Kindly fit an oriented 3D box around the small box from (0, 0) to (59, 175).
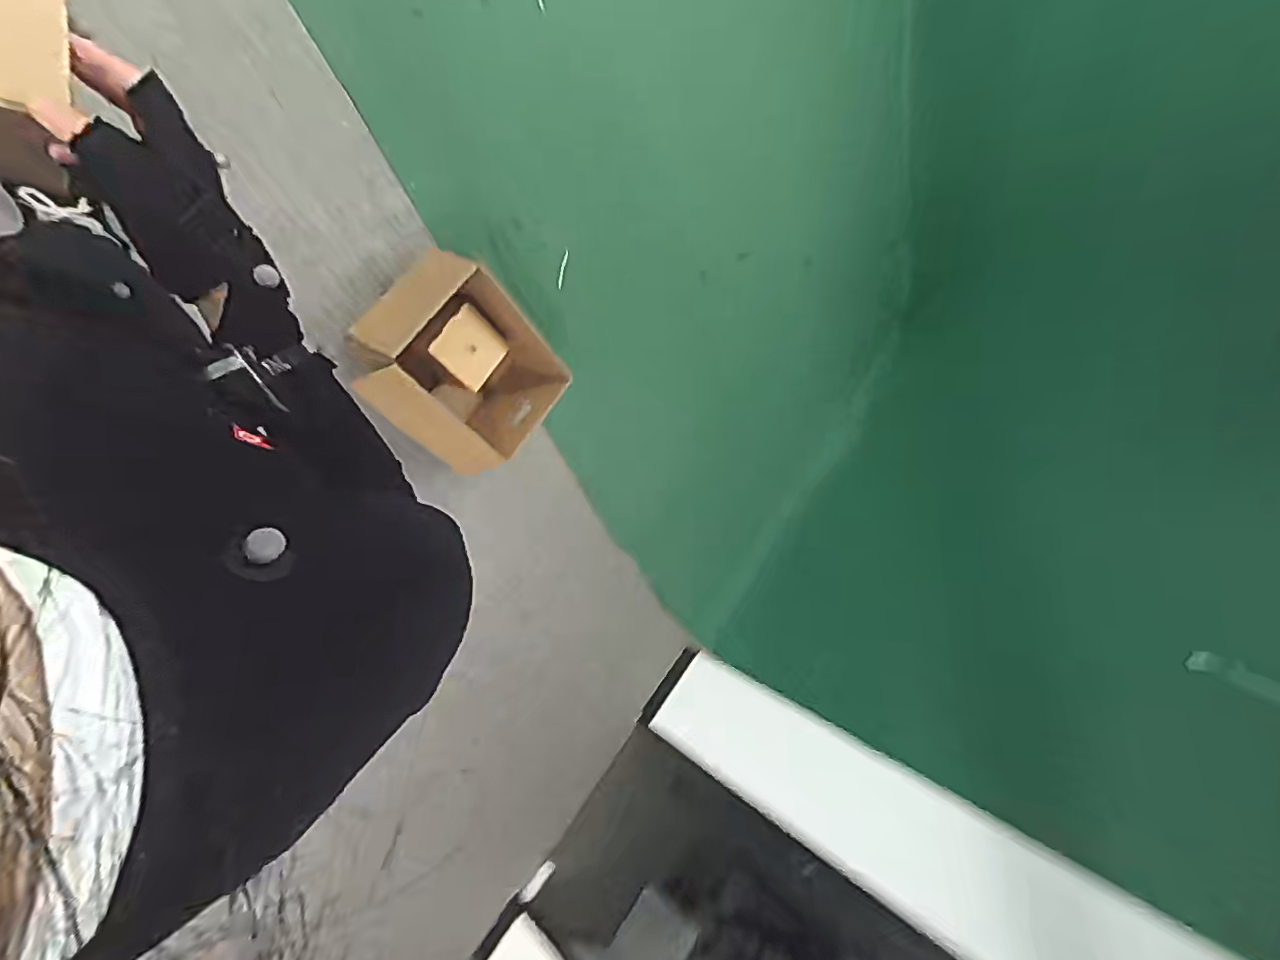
[{"bbox_3d":[-0.450,-0.304,0.303,0.168,0.176,0.179,-4,99,-48],"label":"small box"}]
